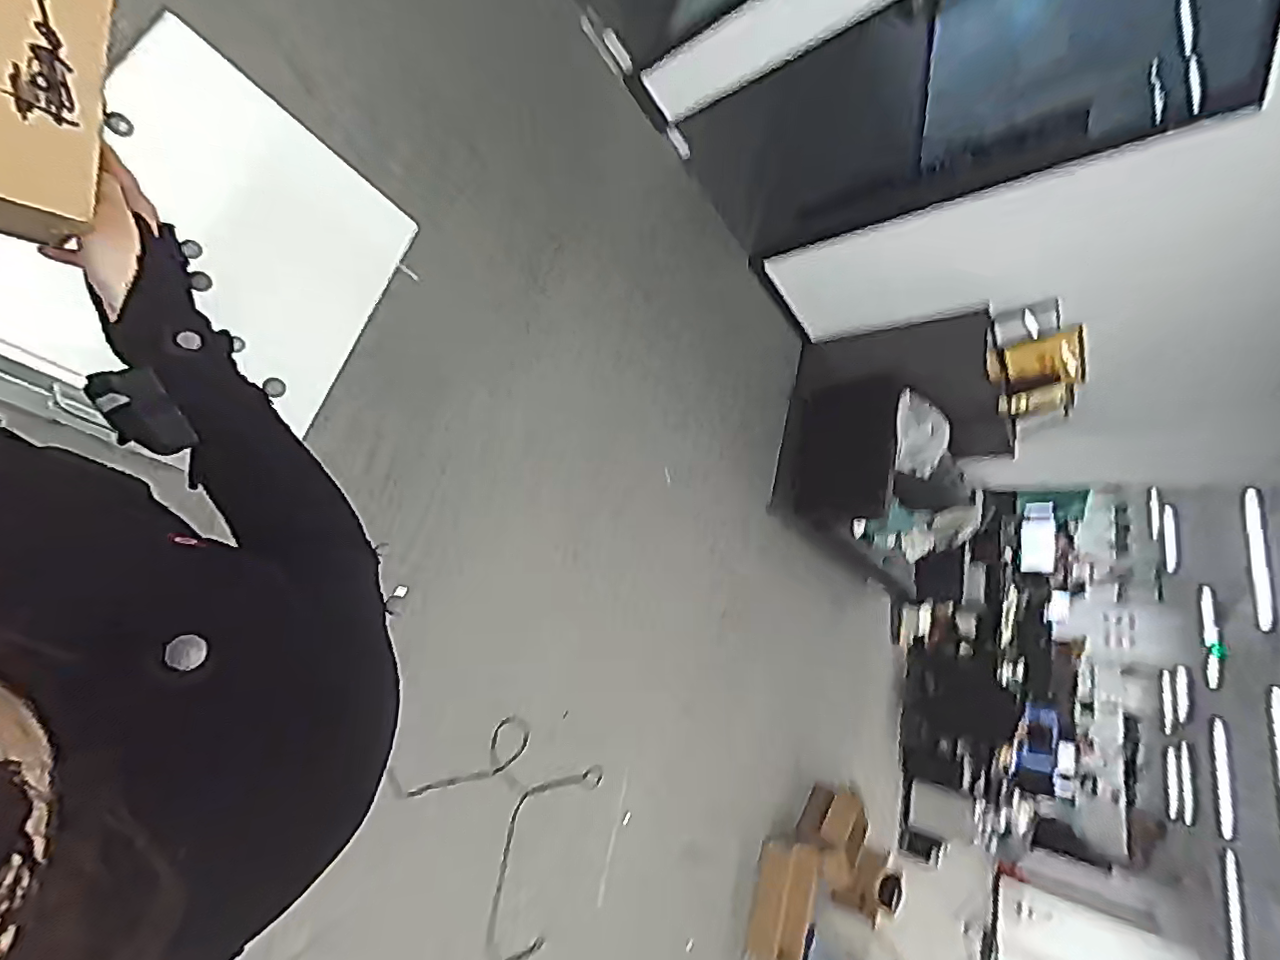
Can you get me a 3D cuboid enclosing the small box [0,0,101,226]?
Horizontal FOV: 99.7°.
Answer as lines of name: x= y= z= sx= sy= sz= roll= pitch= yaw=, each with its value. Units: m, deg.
small box: x=-0.408 y=-0.247 z=0.274 sx=0.179 sy=0.176 sz=0.168 roll=3 pitch=98 yaw=-52
